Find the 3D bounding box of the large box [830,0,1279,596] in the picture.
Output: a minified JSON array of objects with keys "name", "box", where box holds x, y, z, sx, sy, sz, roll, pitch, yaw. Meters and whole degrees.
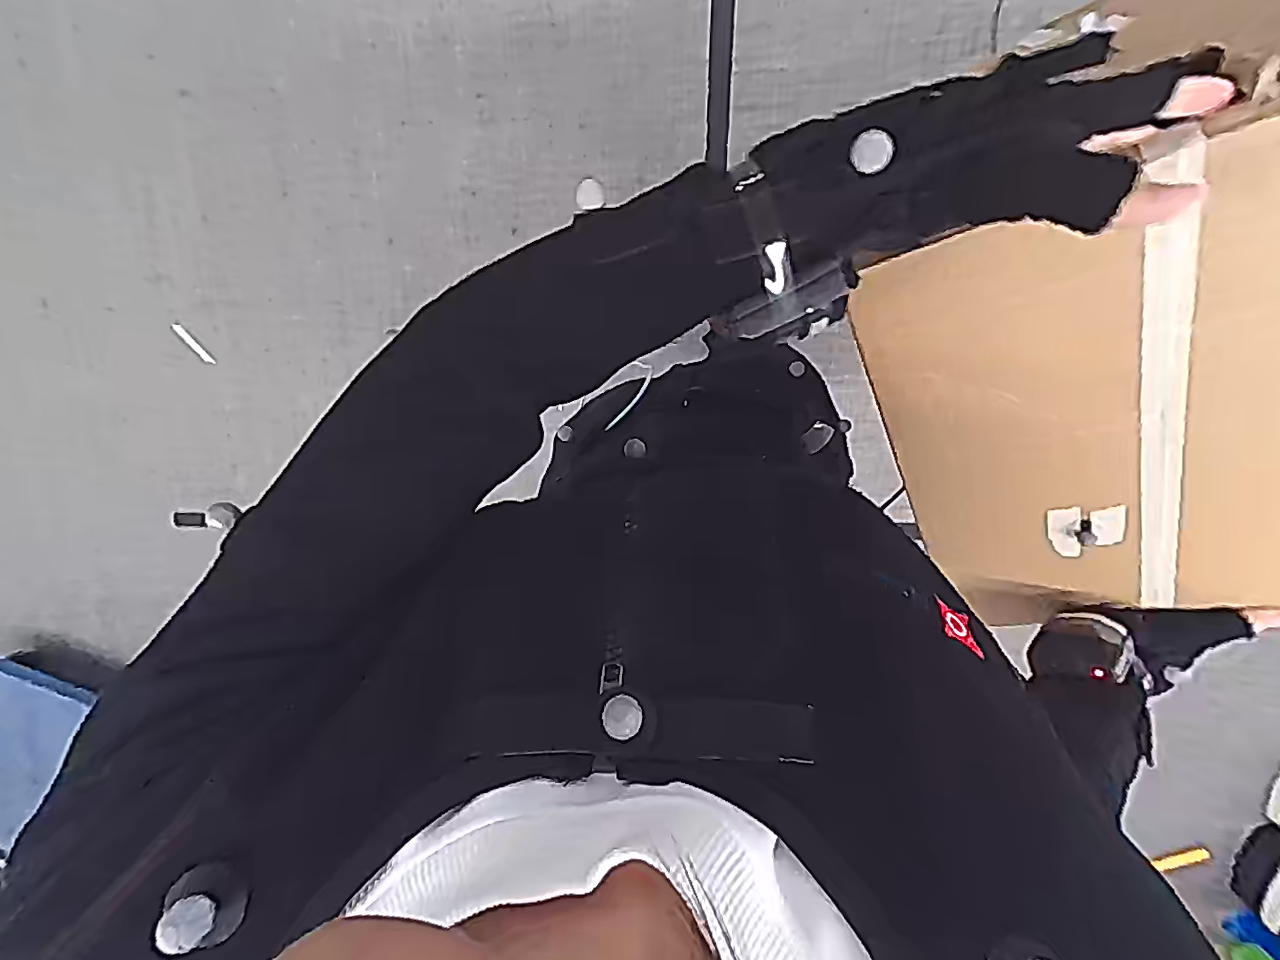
[{"name":"large box","box":[0.383,-0.152,0.472,0.320,0.320,0.408,-14,130,31]}]
